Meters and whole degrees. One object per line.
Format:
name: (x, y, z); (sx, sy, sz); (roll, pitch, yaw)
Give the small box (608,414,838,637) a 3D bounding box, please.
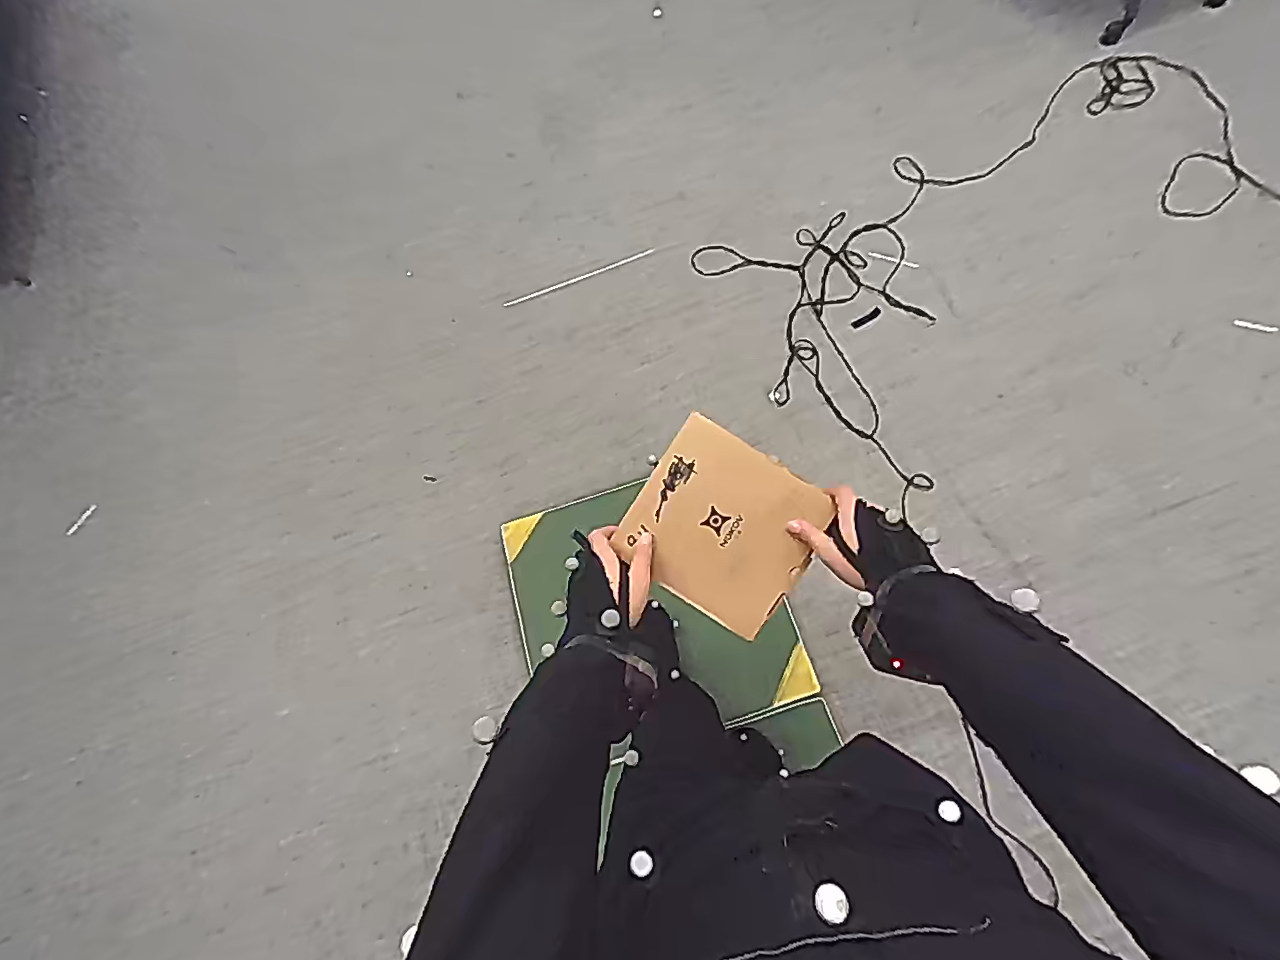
small box: (0.087, 0.044, 0.620); (0.179, 0.176, 0.168); (33, 91, 3)
